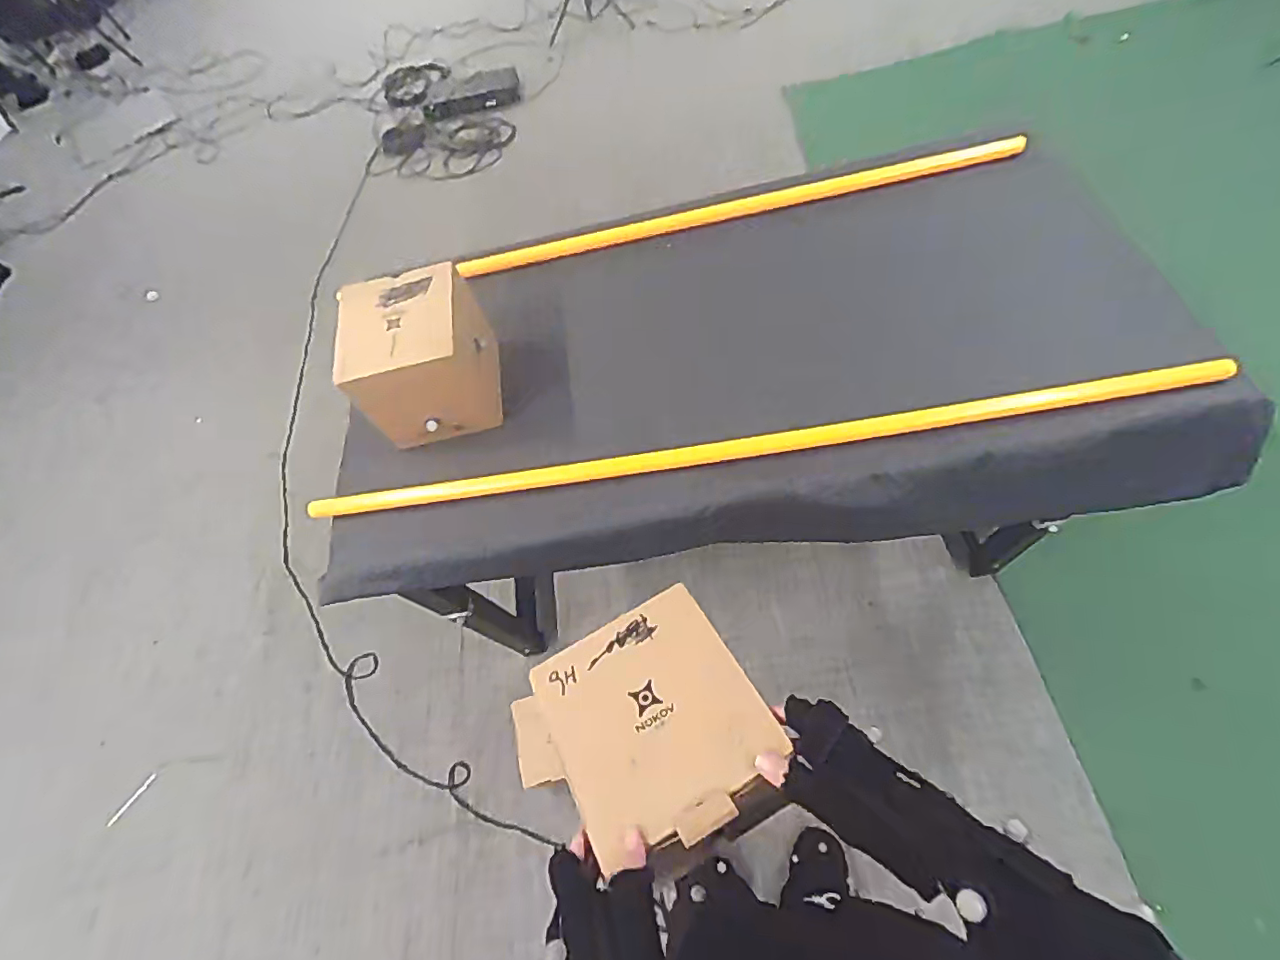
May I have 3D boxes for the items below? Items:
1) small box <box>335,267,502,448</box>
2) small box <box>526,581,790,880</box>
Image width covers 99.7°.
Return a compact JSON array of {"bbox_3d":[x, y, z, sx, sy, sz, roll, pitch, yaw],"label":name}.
[{"bbox_3d":[-0.312,-0.174,0.797,0.168,0.176,0.179,-13,62,4],"label":"small box"},{"bbox_3d":[0.025,0.235,0.505,0.168,0.176,0.179,-31,49,-9],"label":"small box"}]
